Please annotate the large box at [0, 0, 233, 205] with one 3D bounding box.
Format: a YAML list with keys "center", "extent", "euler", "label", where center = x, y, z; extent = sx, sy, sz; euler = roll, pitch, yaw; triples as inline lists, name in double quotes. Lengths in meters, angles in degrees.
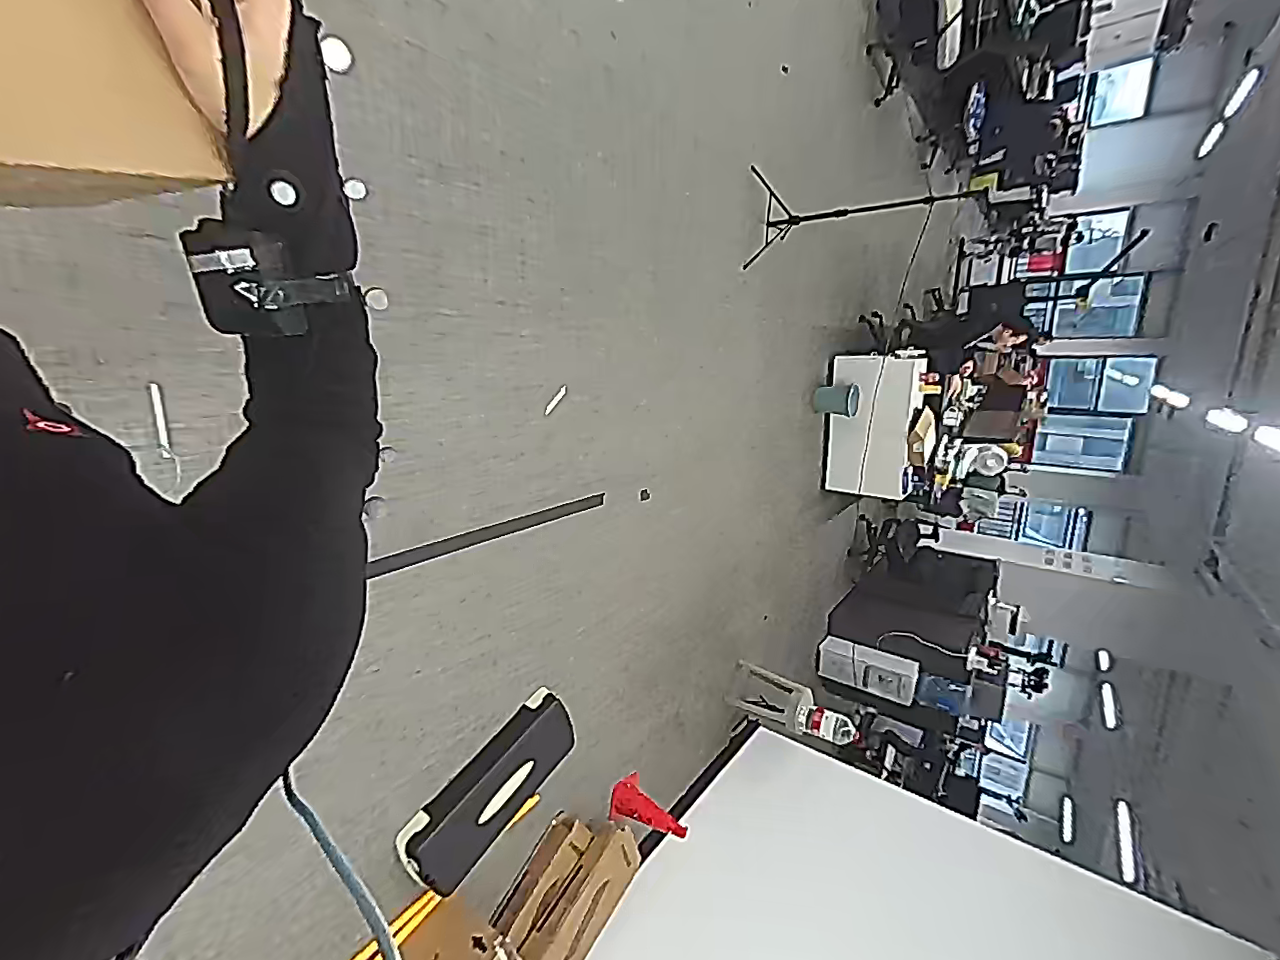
- center: [-0.472, -0.278, 0.183]
  extent: [0.408, 0.320, 0.320]
  euler: [-31, 128, -49]
  label: "large box"
